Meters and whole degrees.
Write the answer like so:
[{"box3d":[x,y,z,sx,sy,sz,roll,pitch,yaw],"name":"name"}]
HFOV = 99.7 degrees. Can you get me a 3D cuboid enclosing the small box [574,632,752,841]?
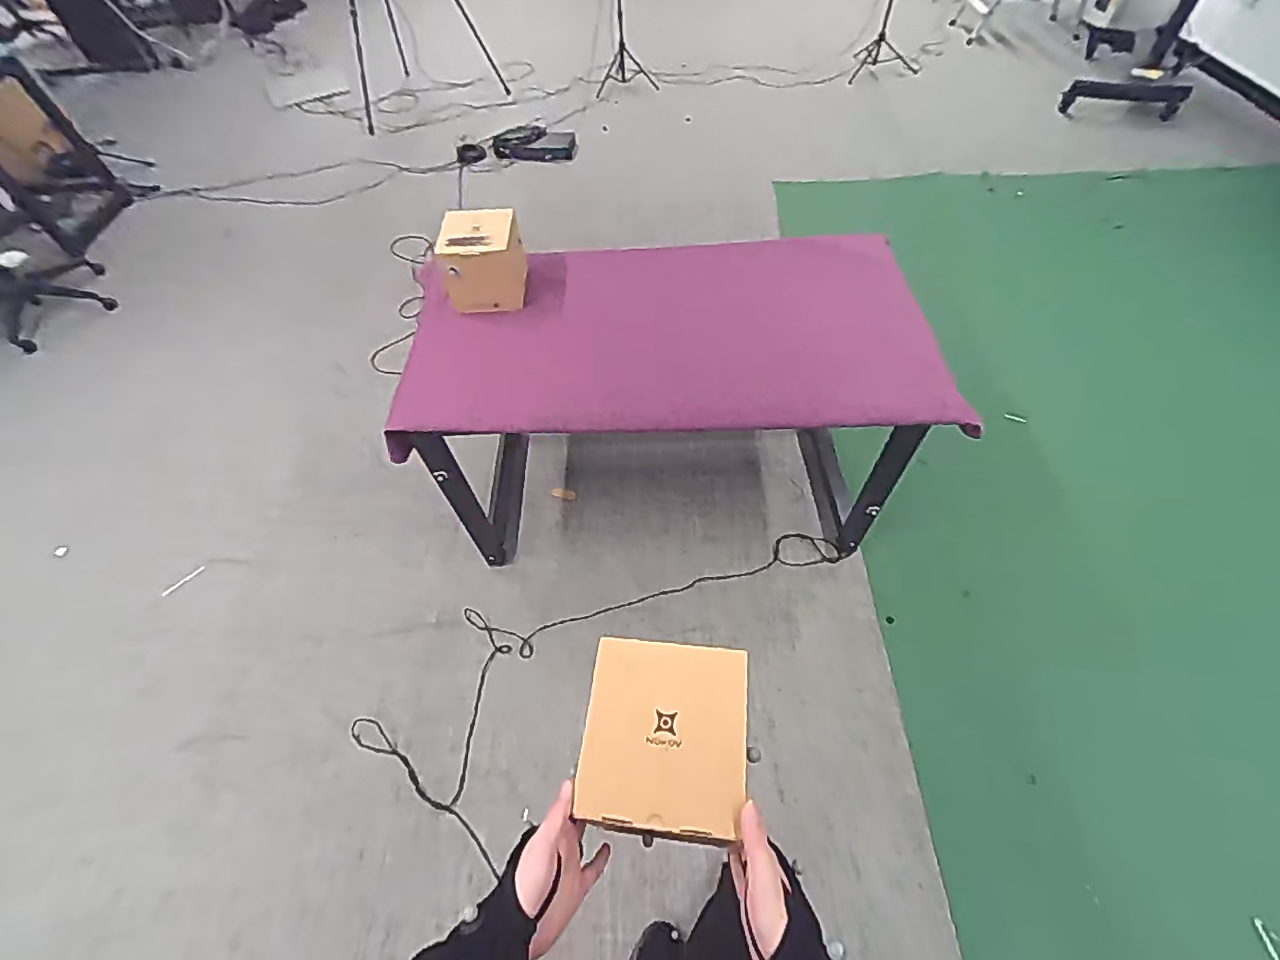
[{"box3d":[0.032,0.291,0.608,0.168,0.176,0.179,4,56,7],"name":"small box"}]
